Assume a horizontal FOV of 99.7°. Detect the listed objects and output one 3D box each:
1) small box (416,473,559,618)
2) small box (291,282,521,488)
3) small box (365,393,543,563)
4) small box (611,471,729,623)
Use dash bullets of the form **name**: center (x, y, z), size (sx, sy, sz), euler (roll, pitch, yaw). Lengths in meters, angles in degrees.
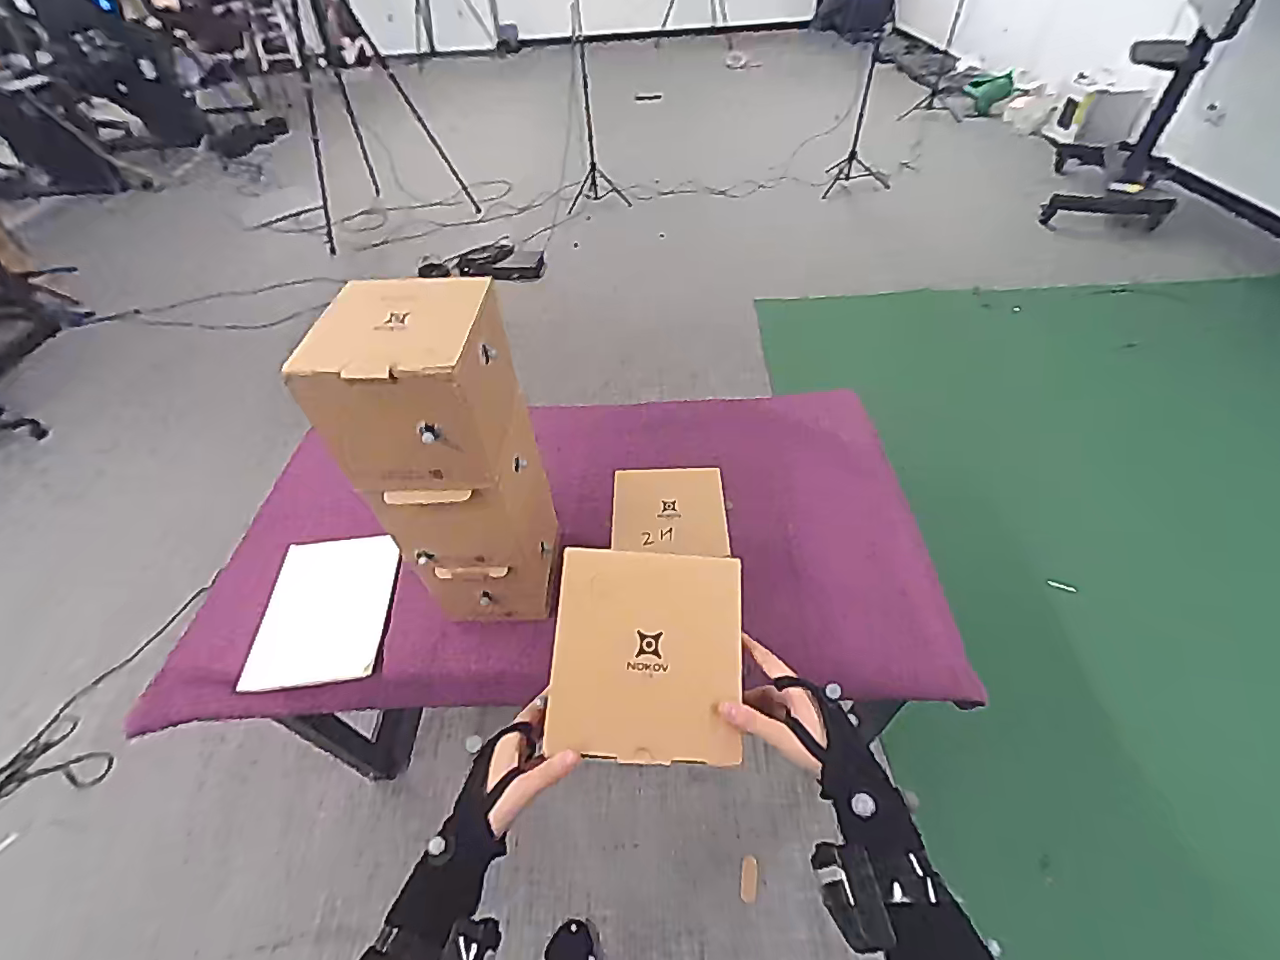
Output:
- **small box**: center (-0.229, 0.109, 0.867), size (0.168, 0.176, 0.179), euler (-1, 48, 2)
- **small box**: center (-0.242, -0.105, 0.618), size (0.168, 0.176, 0.179), euler (0, 47, 2)
- **small box**: center (-0.235, 0.002, 0.741), size (0.168, 0.176, 0.179), euler (-1, 47, 2)
- **small box**: center (0.046, 0.105, 0.852), size (0.168, 0.176, 0.179), euler (-2, 47, 3)
